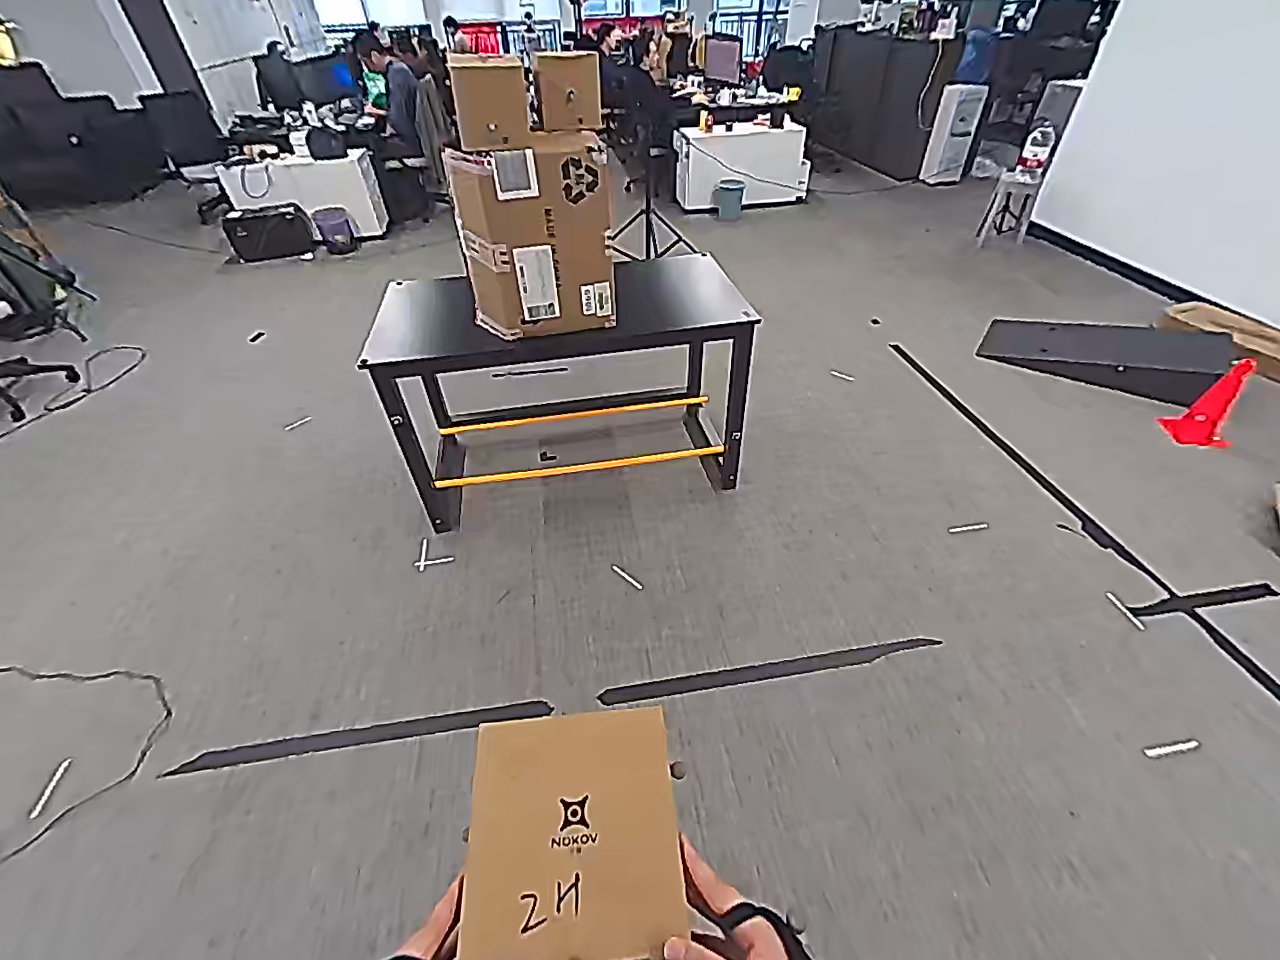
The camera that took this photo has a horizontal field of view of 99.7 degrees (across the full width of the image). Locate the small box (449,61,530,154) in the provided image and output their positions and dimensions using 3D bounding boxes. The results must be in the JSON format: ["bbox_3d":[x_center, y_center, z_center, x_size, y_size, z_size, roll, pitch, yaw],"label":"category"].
[{"bbox_3d":[-0.368,-0.913,1.326,0.168,0.176,0.179,-10,45,-12],"label":"small box"}]

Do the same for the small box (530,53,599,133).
[{"bbox_3d":[-0.212,-1.090,1.525,0.168,0.176,0.179,-9,42,-12],"label":"small box"}]

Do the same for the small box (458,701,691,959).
[{"bbox_3d":[-0.051,0.325,0.490,0.168,0.176,0.179,-5,47,-3],"label":"small box"}]
